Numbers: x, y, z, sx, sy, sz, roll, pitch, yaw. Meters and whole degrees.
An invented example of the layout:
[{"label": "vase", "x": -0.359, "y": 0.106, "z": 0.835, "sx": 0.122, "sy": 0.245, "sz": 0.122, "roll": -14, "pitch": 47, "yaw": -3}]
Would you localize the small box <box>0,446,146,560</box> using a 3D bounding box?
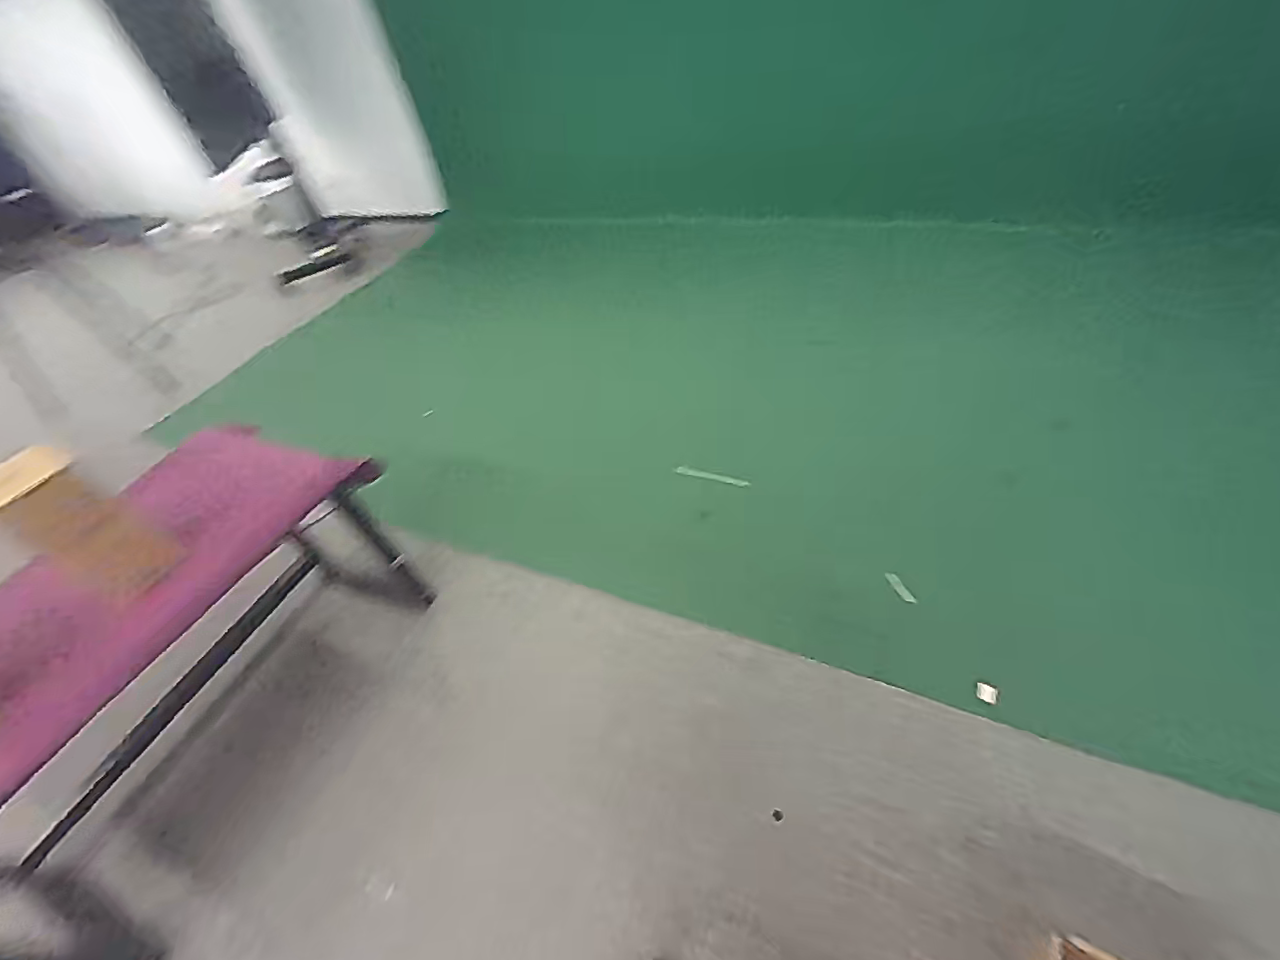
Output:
[{"label": "small box", "x": -1.264, "y": 0.053, "z": 1.193, "sx": 0.179, "sy": 0.176, "sz": 0.168, "roll": 14, "pitch": 51, "yaw": 25}]
